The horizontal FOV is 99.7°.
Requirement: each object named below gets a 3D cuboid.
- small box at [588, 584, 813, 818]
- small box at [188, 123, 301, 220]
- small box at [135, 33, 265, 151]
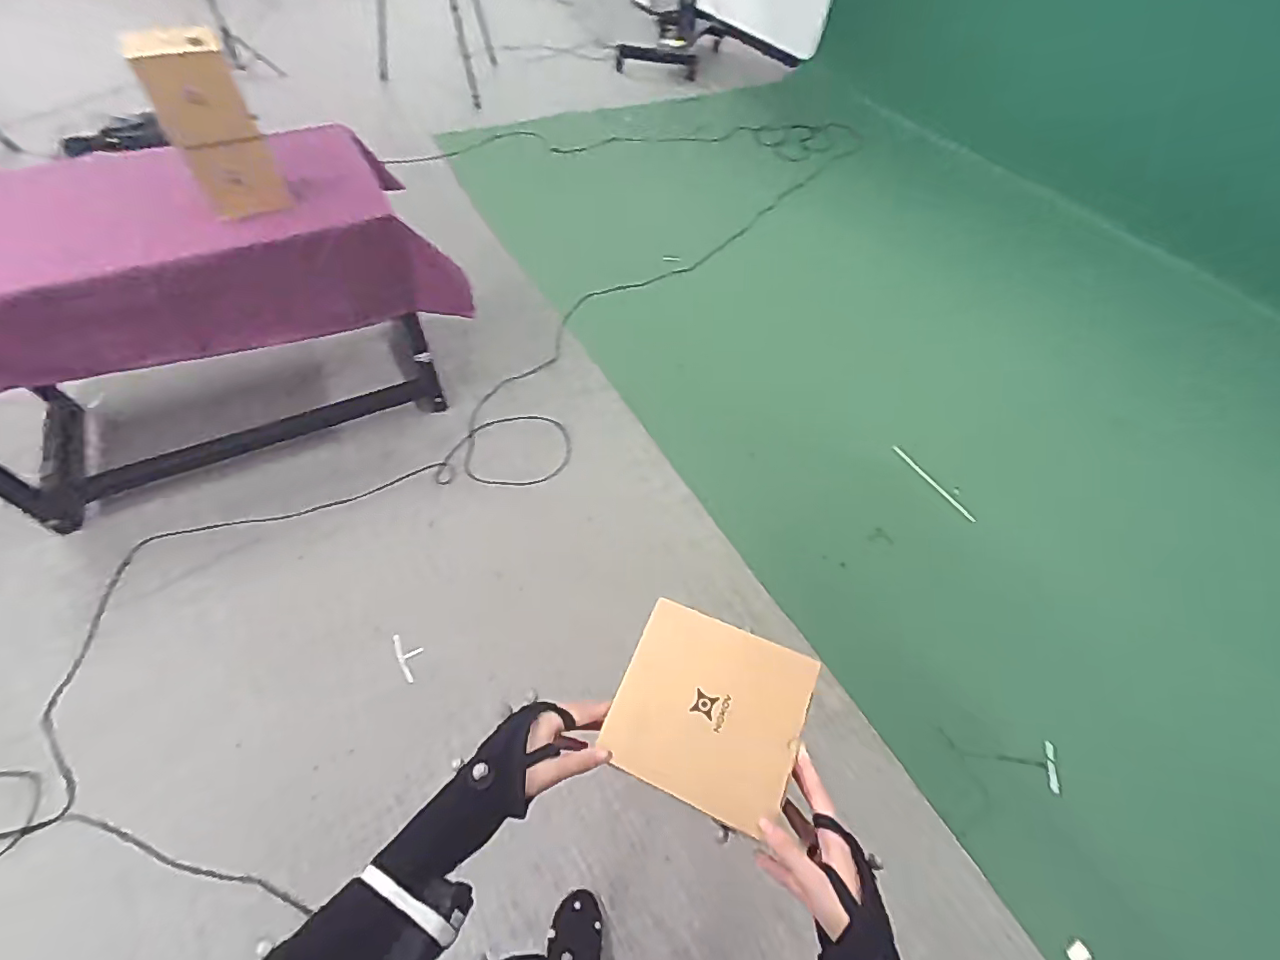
[{"bbox_3d":[0.067,0.242,0.587,0.179,0.176,0.168,18,63,16],"label":"small box"},{"bbox_3d":[-0.993,-0.780,1.357,0.179,0.176,0.168,-25,59,-20],"label":"small box"},{"bbox_3d":[-0.983,-0.876,1.223,0.179,0.176,0.168,-24,58,-19],"label":"small box"}]
